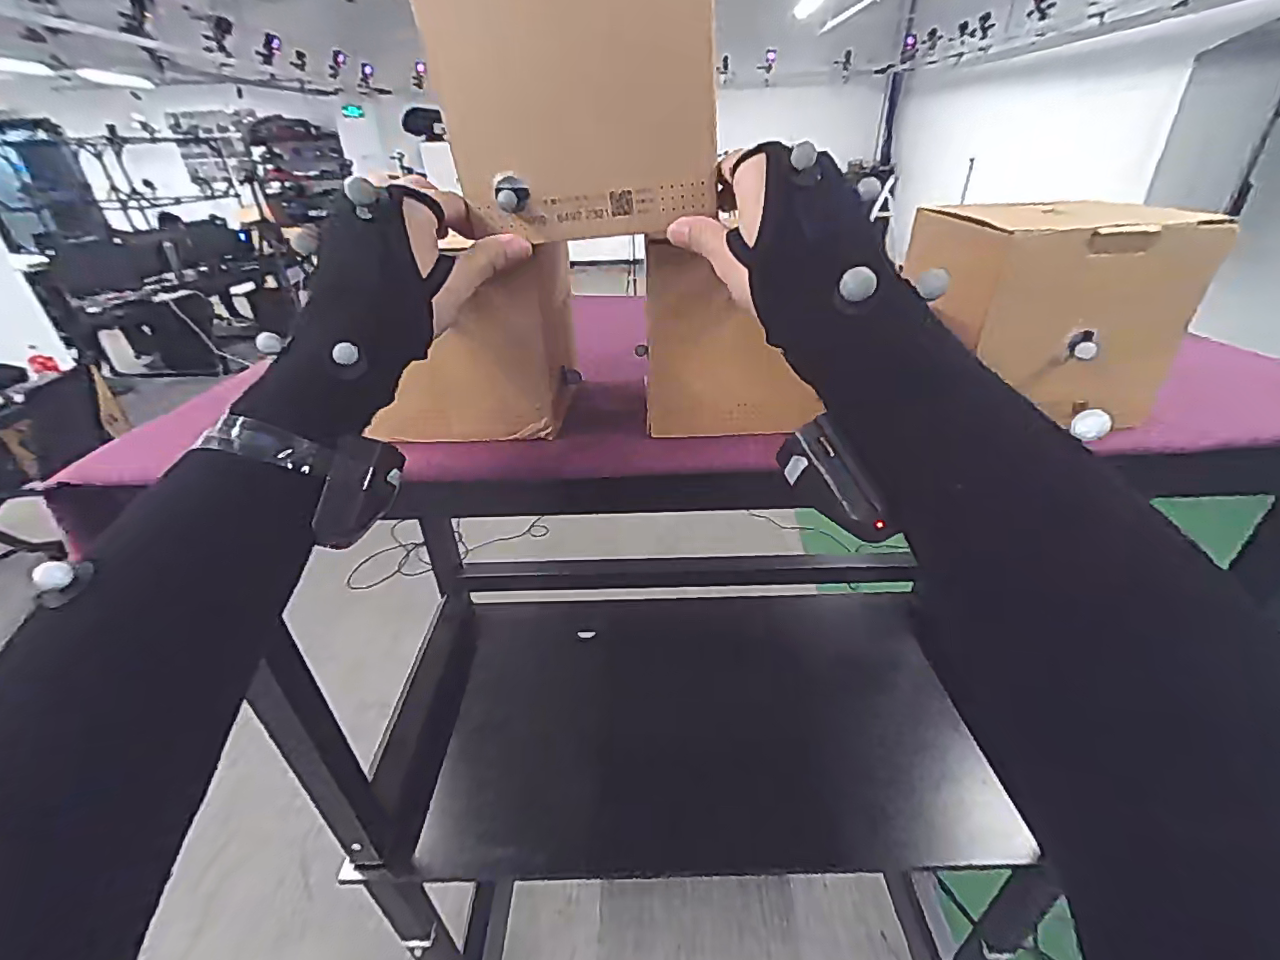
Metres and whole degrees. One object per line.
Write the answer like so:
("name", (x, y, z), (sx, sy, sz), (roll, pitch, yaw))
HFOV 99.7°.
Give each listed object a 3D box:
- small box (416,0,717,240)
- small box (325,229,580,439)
("small box", (-0.031, -0.281, 0.392), (0.168, 0.176, 0.179), (-2, 36, 8))
("small box", (-0.160, -0.147, 0.532), (0.179, 0.176, 0.168), (0, 31, 2))
